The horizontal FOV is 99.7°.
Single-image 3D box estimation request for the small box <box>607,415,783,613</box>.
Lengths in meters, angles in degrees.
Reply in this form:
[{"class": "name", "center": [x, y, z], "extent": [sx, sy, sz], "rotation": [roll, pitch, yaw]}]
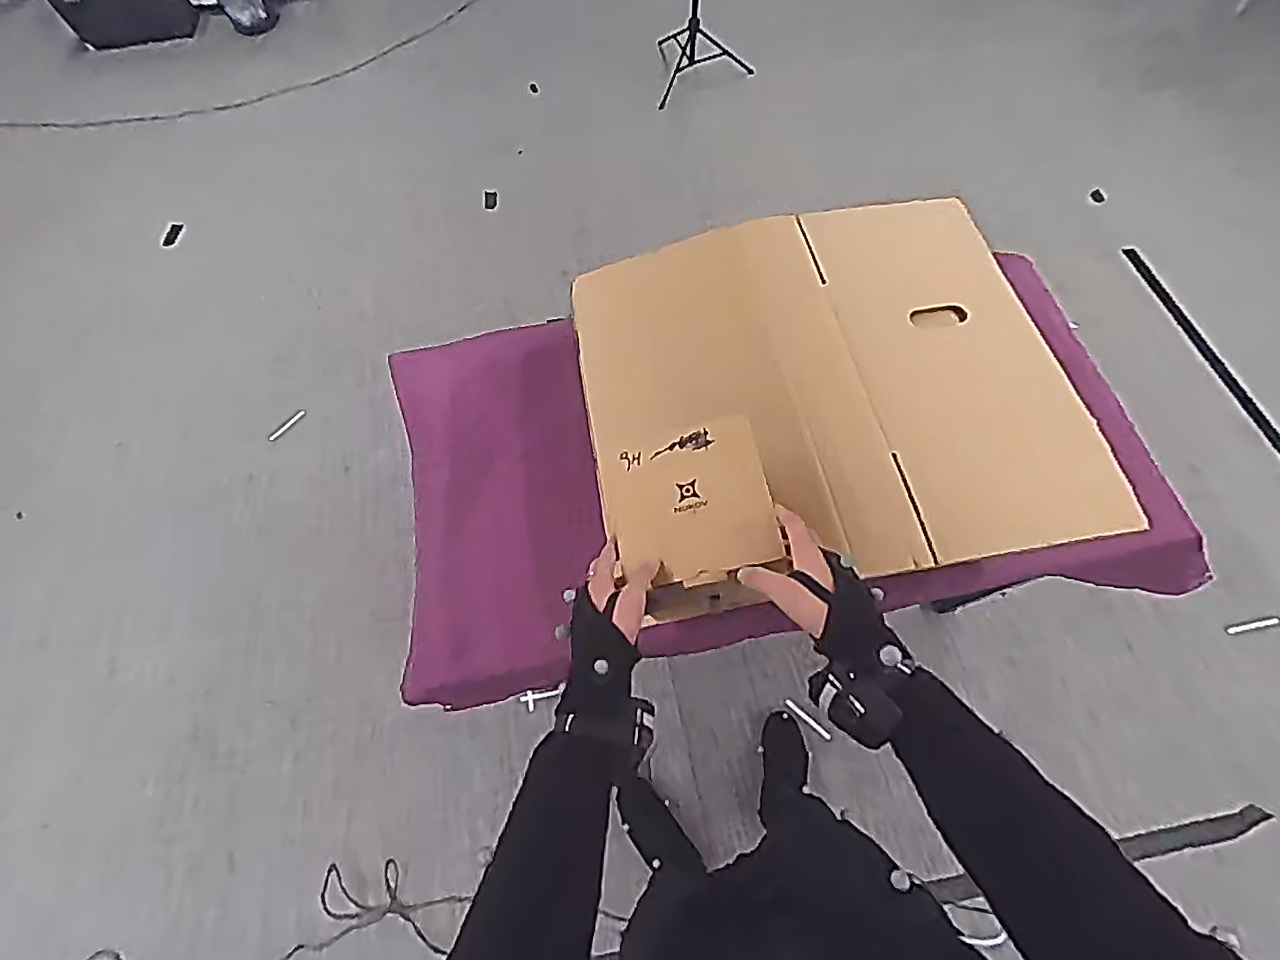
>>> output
[{"class": "small box", "center": [0.070, 0.053, 0.644], "extent": [0.168, 0.176, 0.179], "rotation": [-14, 64, 8]}]
